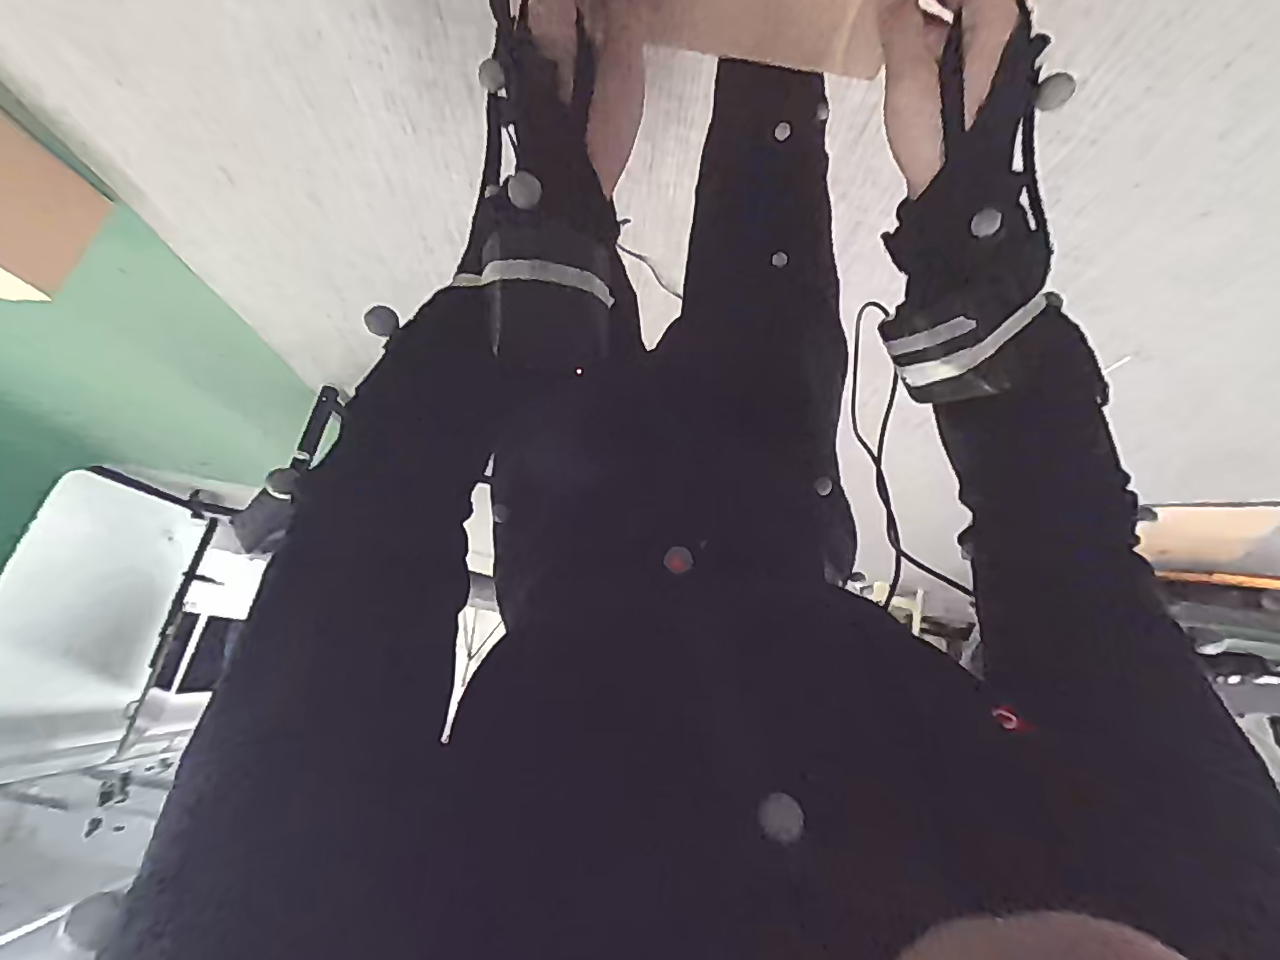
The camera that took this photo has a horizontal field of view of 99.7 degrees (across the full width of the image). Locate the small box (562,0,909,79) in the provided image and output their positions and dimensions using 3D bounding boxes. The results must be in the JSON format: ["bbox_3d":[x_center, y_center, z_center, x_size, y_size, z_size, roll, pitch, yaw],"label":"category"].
[{"bbox_3d":[0.058,-0.335,0.246,0.179,0.176,0.168,4,165,-5],"label":"small box"}]
